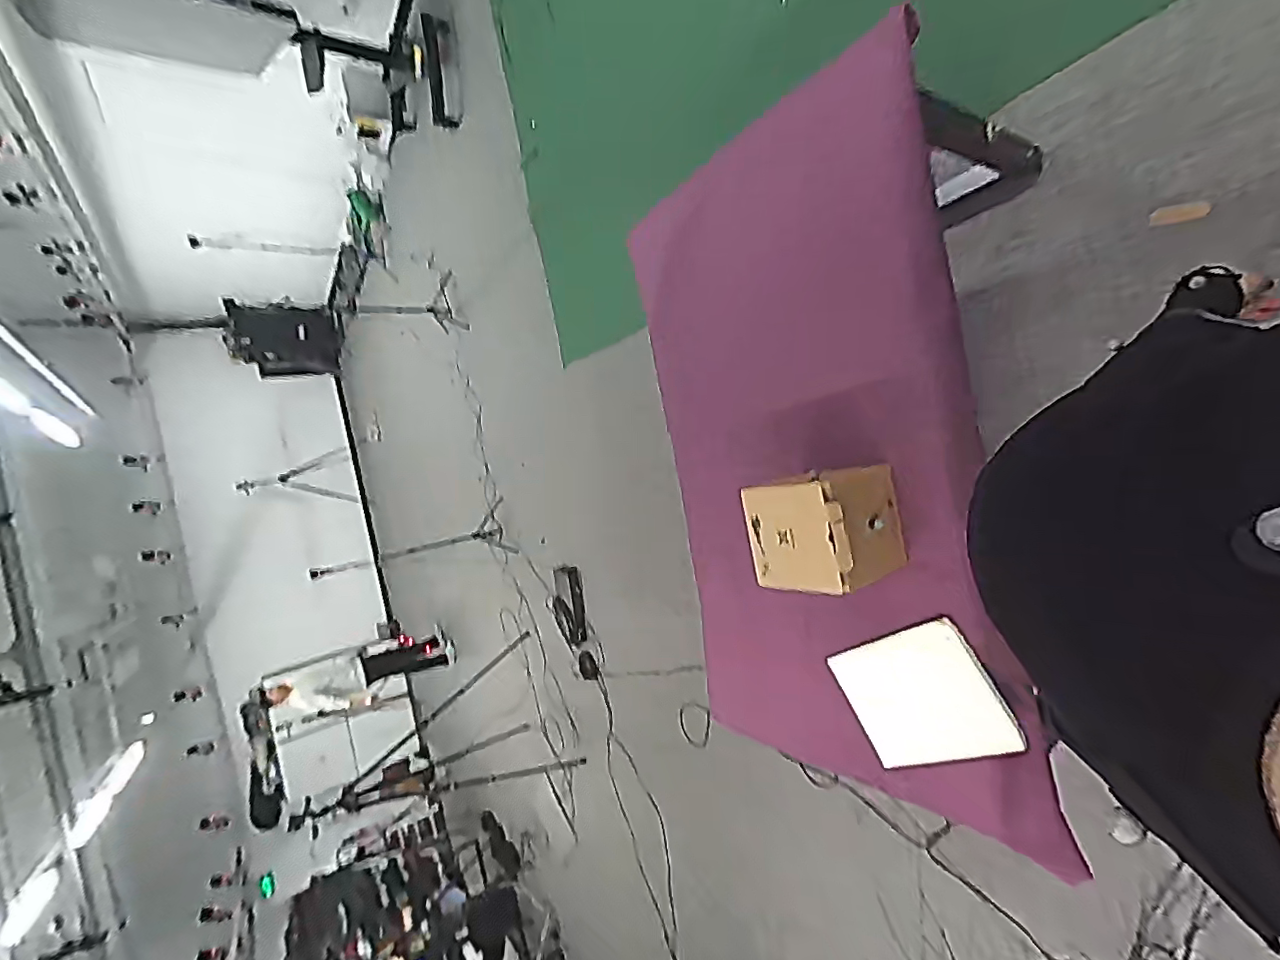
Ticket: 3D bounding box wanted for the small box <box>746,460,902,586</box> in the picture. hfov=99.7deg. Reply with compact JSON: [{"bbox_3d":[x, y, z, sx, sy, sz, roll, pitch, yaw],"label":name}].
[{"bbox_3d":[0.307,0.067,0.889,0.179,0.176,0.168,-9,92,54],"label":"small box"}]
